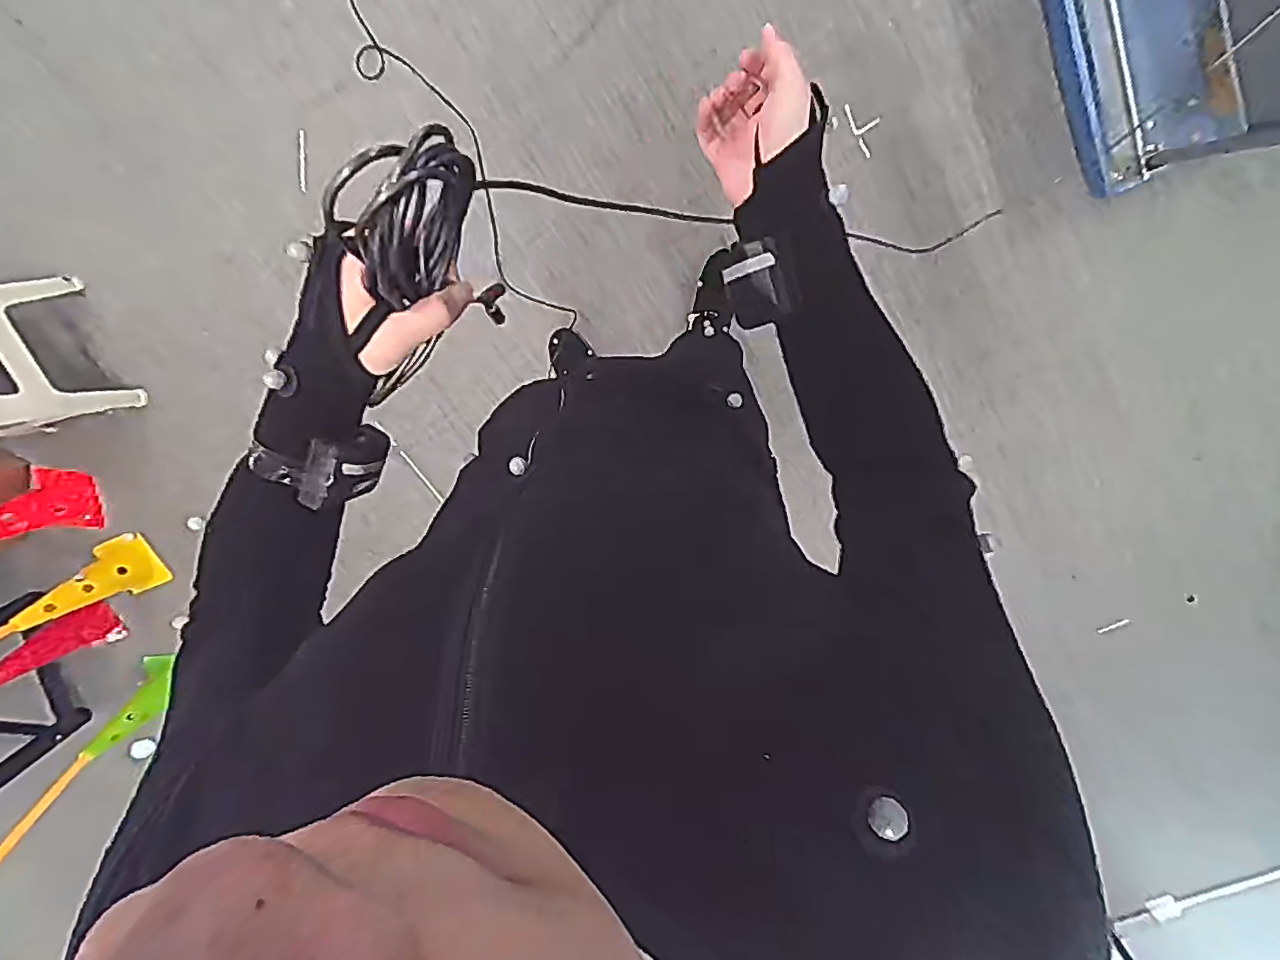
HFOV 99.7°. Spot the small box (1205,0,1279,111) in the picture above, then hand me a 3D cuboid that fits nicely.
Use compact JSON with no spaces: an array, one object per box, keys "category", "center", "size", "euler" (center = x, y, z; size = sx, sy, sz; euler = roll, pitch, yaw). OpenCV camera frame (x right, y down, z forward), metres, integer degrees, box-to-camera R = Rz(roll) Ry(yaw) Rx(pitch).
[{"category":"small box","center":[1.236,-0.839,1.013],"size":[0.179,0.176,0.168],"euler":[-25,107,13]}]
